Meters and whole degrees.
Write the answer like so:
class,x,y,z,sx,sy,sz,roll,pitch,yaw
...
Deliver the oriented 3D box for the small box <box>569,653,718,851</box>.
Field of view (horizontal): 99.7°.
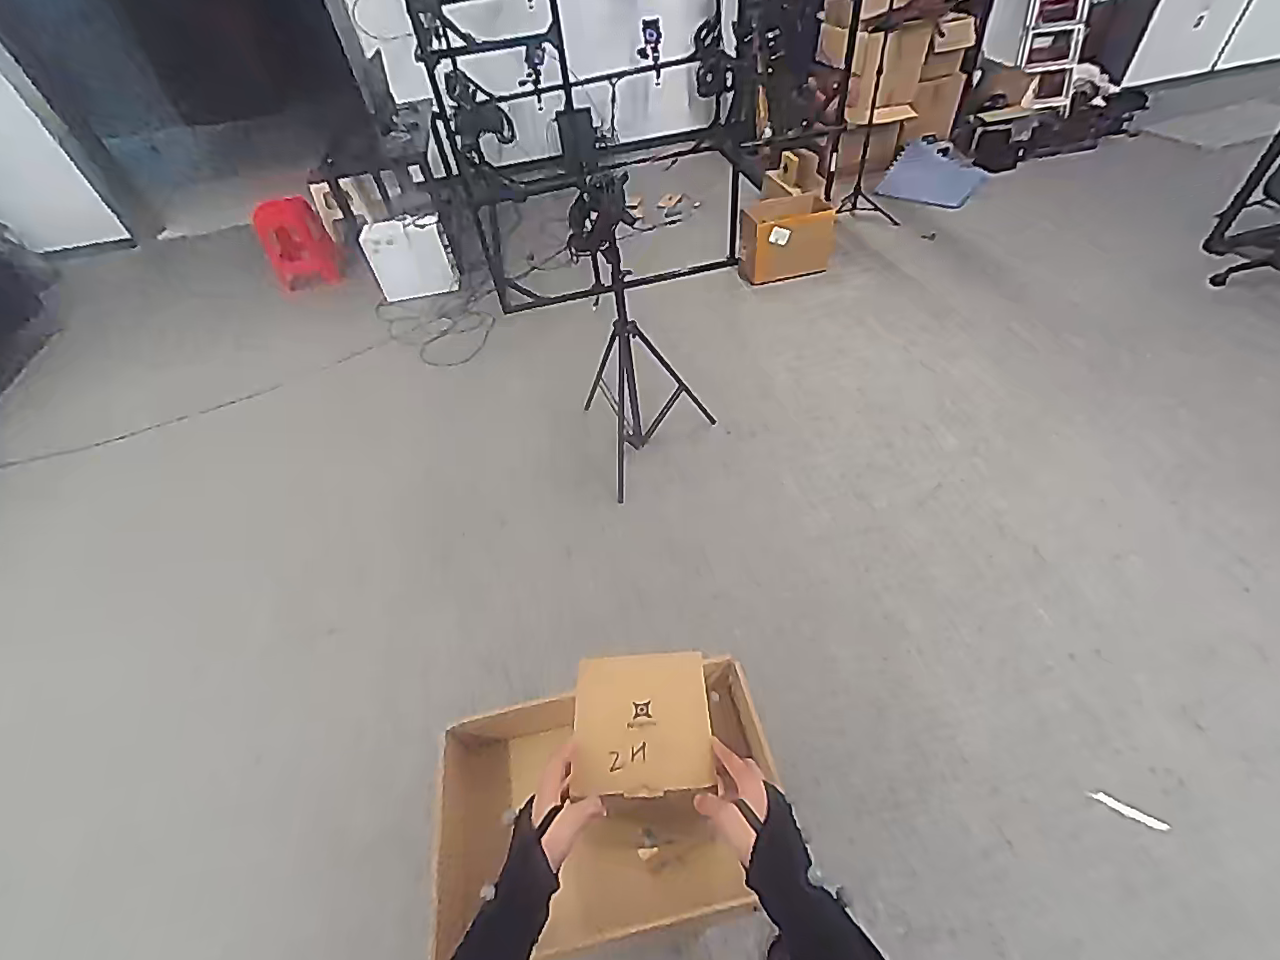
class,x,y,z,sx,sy,sz,roll,pitch,yaw
small box,0.008,0.351,0.703,0.168,0.176,0.179,-5,39,2
